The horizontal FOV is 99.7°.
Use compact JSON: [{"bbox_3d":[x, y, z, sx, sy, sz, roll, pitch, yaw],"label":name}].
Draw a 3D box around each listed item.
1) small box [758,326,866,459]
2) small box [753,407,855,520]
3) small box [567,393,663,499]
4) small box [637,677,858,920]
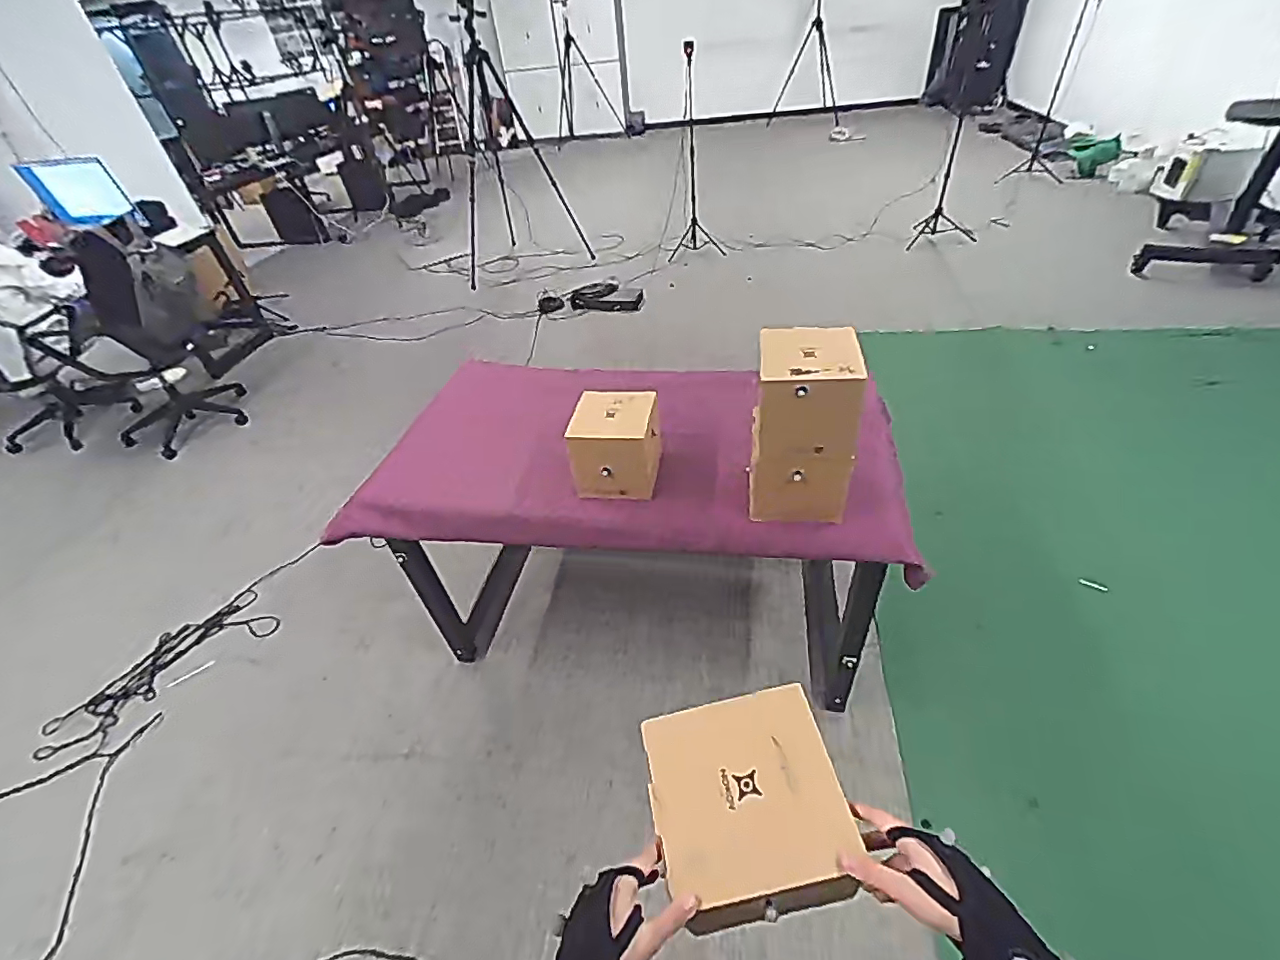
[{"bbox_3d":[0.298,-0.157,0.970,0.168,0.176,0.179,-1,42,13],"label":"small box"},{"bbox_3d":[0.317,-0.034,1.077,0.179,0.176,0.168,-1,43,12],"label":"small box"},{"bbox_3d":[-0.045,-0.073,1.186,0.168,0.176,0.179,2,41,12],"label":"small box"},{"bbox_3d":[0.109,0.339,0.571,0.179,0.176,0.168,-15,45,2],"label":"small box"}]
